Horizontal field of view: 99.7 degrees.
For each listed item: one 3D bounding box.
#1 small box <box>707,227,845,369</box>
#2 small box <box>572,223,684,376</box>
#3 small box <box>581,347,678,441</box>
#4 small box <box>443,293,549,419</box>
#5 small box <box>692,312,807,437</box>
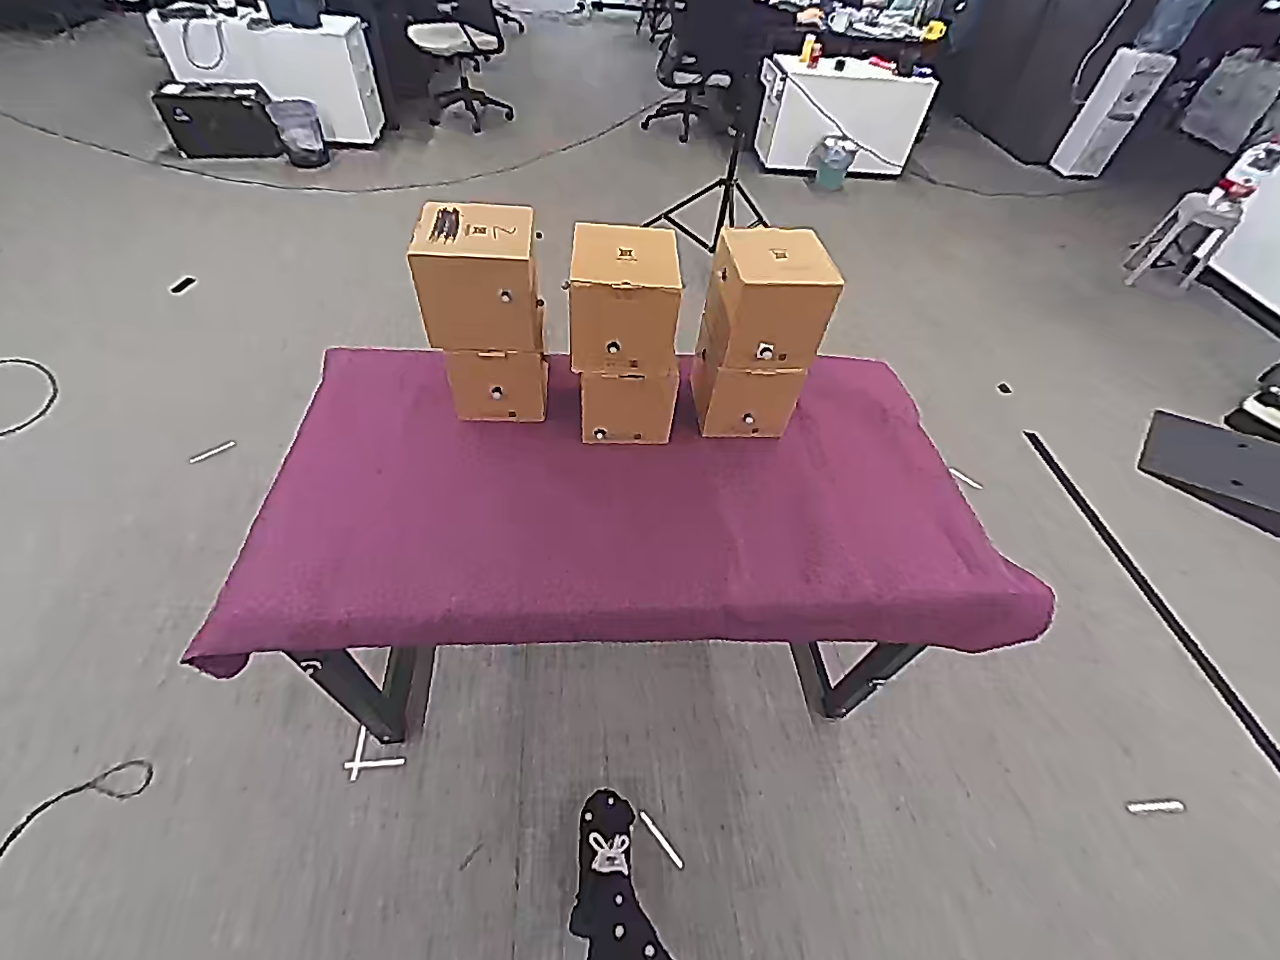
[{"bbox_3d":[0.221,-0.311,0.934,0.168,0.176,0.179,-3,52,-7],"label":"small box"},{"bbox_3d":[-0.026,-0.295,0.894,0.168,0.176,0.179,2,52,-5],"label":"small box"},{"bbox_3d":[-0.026,-0.188,1.017,0.168,0.176,0.179,0,51,-7],"label":"small box"},{"bbox_3d":[-0.261,-0.230,1.025,0.168,0.176,0.179,0,52,-6],"label":"small box"},{"bbox_3d":[0.202,-0.205,1.056,0.168,0.176,0.179,-1,52,-6],"label":"small box"}]
